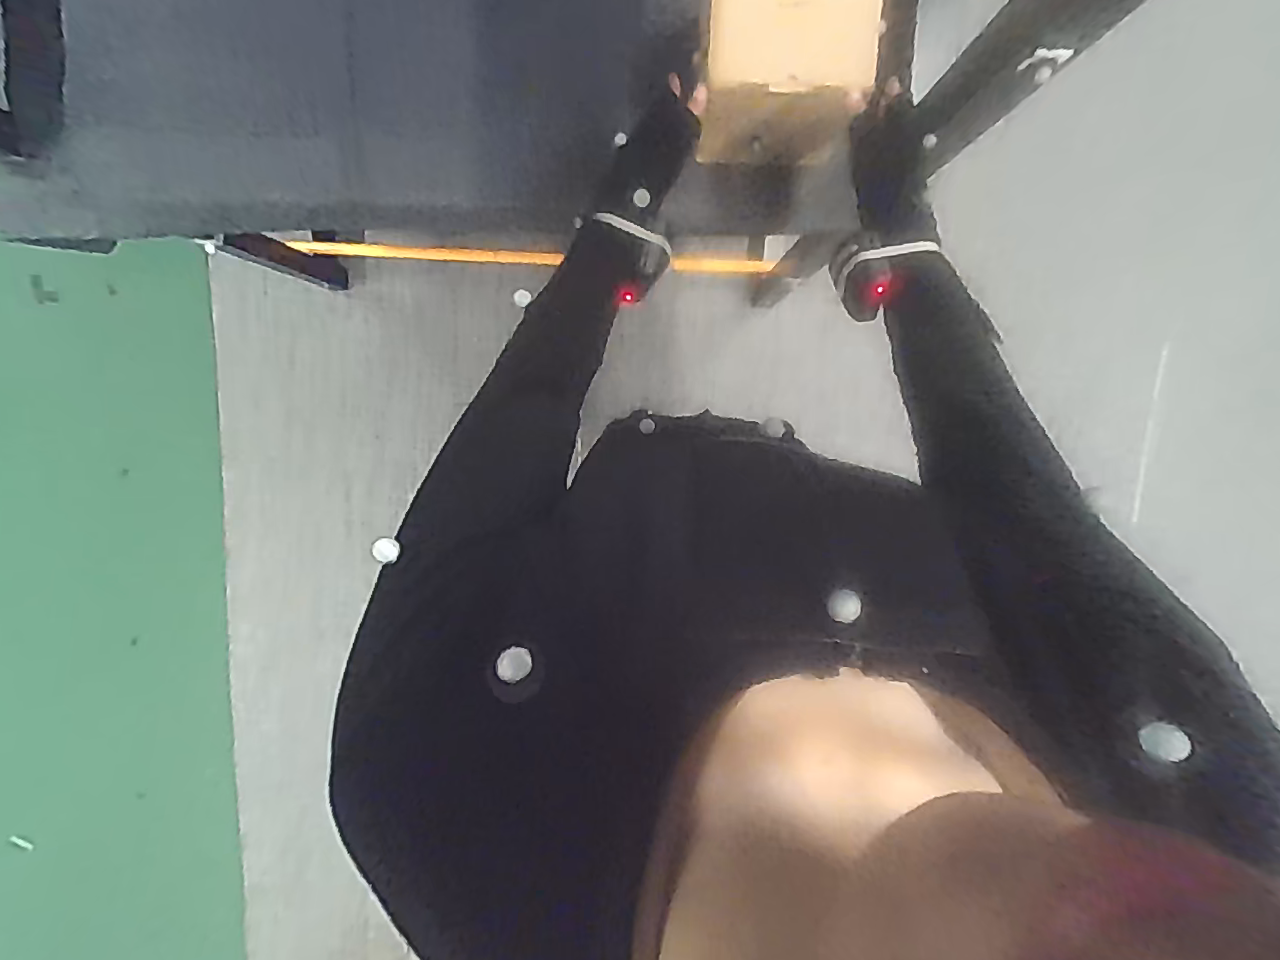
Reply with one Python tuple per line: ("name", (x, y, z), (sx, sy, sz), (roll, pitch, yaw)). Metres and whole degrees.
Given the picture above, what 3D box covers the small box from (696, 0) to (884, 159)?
("small box", (0.152, -0.484, 0.589), (0.168, 0.176, 0.179), (3, 98, 2))
